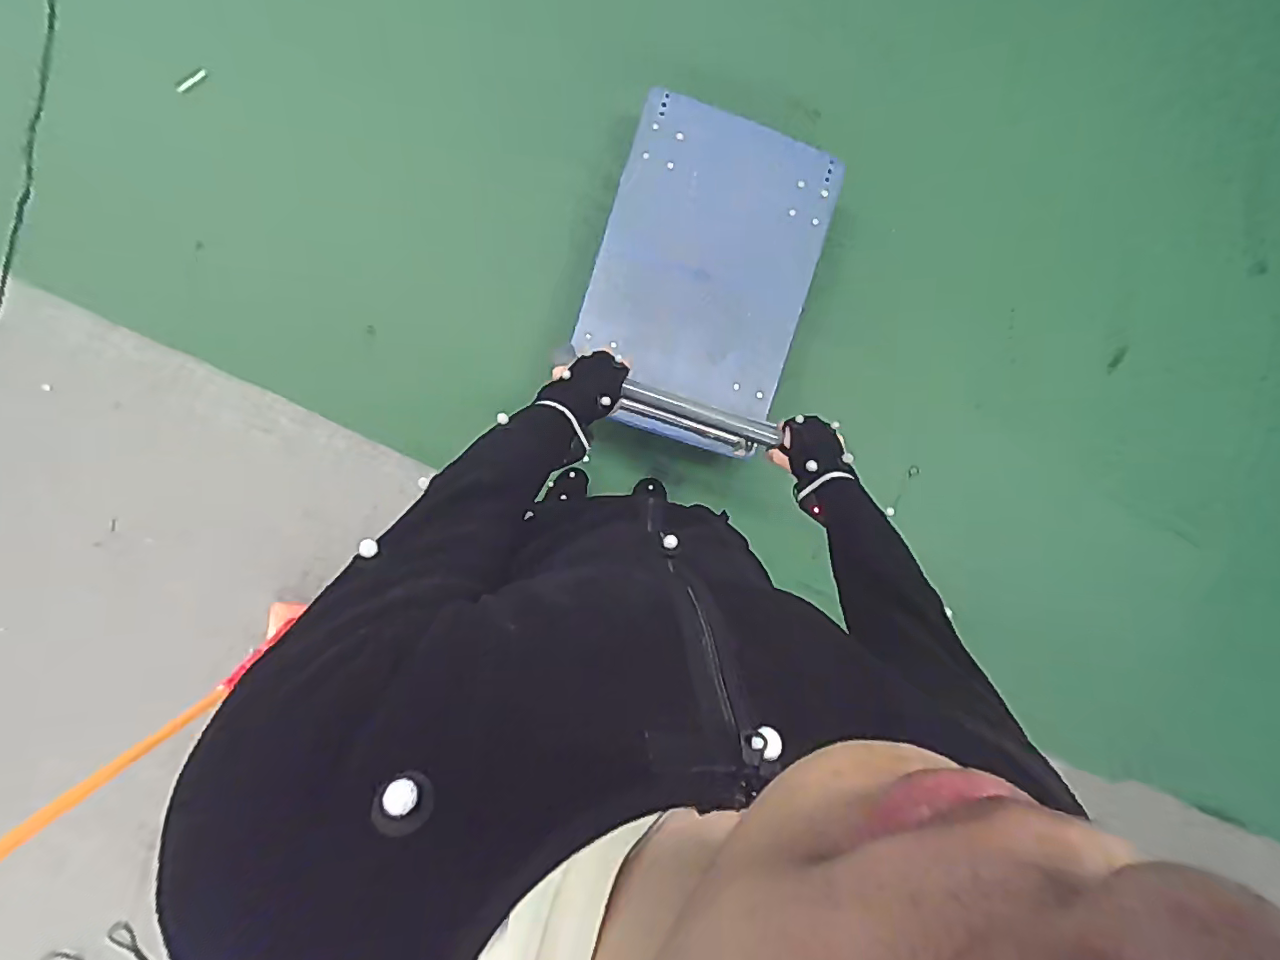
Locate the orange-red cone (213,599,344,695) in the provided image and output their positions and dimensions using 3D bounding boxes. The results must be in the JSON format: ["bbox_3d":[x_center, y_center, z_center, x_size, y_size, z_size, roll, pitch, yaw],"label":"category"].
[{"bbox_3d":[-0.950,0.457,1.378,0.199,0.360,0.198,11,91,-5],"label":"orange-red cone"}]
